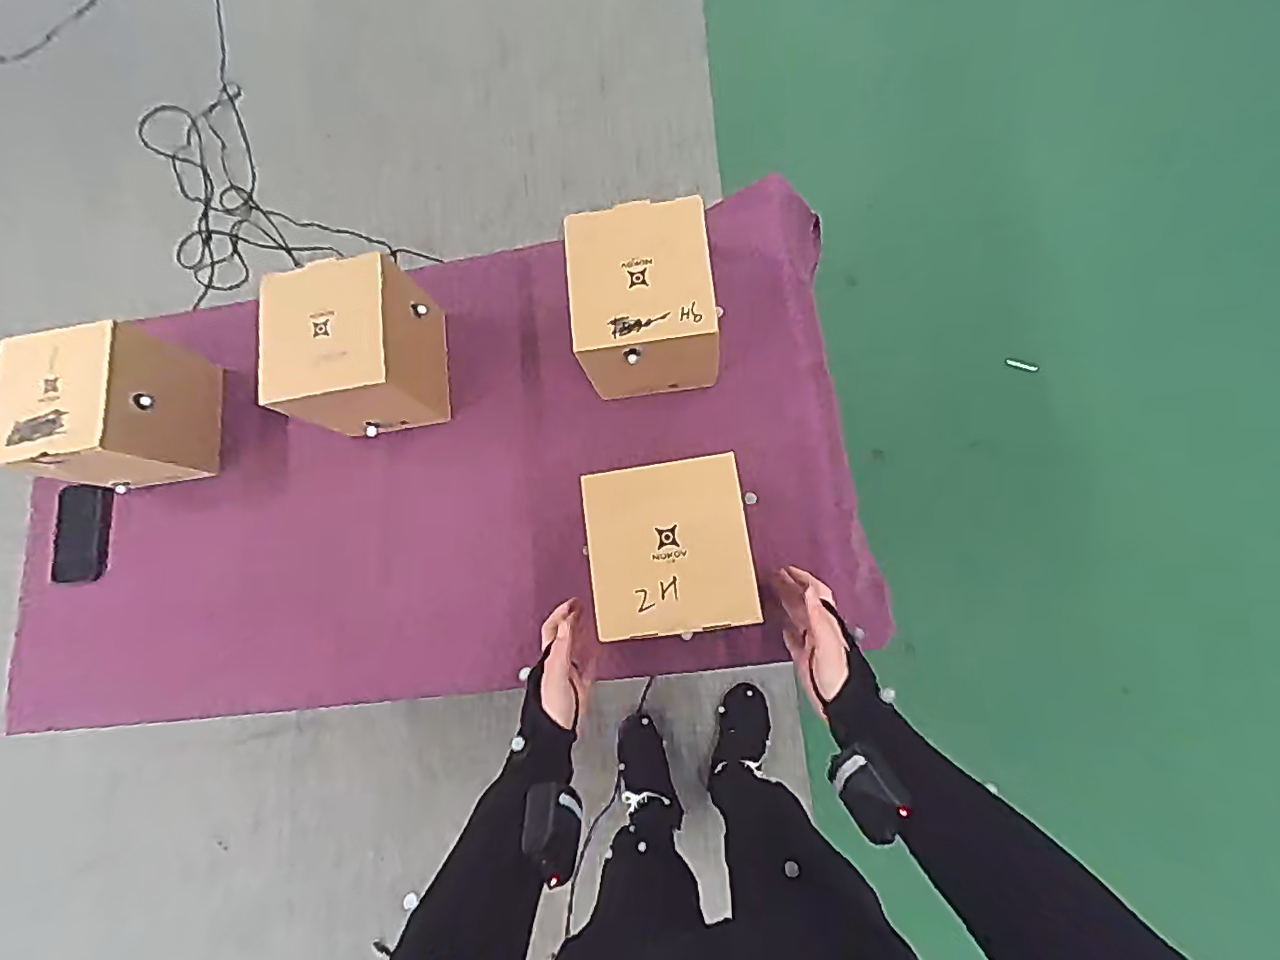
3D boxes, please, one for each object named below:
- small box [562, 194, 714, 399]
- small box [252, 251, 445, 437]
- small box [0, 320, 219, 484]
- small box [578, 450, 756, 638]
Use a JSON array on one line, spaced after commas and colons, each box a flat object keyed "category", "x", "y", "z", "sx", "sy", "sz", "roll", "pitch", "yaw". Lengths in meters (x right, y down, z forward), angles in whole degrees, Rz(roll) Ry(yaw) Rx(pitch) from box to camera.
[{"category": "small box", "x": 0.004, "y": -0.222, "z": 0.690, "sx": 0.168, "sy": 0.176, "sz": 0.179, "roll": -7, "pitch": 78, "yaw": 7}, {"category": "small box", "x": -0.380, "y": -0.172, "z": 0.730, "sx": 0.168, "sy": 0.176, "sz": 0.179, "roll": -8, "pitch": 78, "yaw": 6}, {"category": "small box", "x": -0.737, "y": -0.096, "z": 0.759, "sx": 0.168, "sy": 0.176, "sz": 0.179, "roll": -8, "pitch": 77, "yaw": 5}, {"category": "small box", "x": 0.033, "y": 0.079, "z": 0.621, "sx": 0.168, "sy": 0.176, "sz": 0.179, "roll": -9, "pitch": 77, "yaw": 7}]
